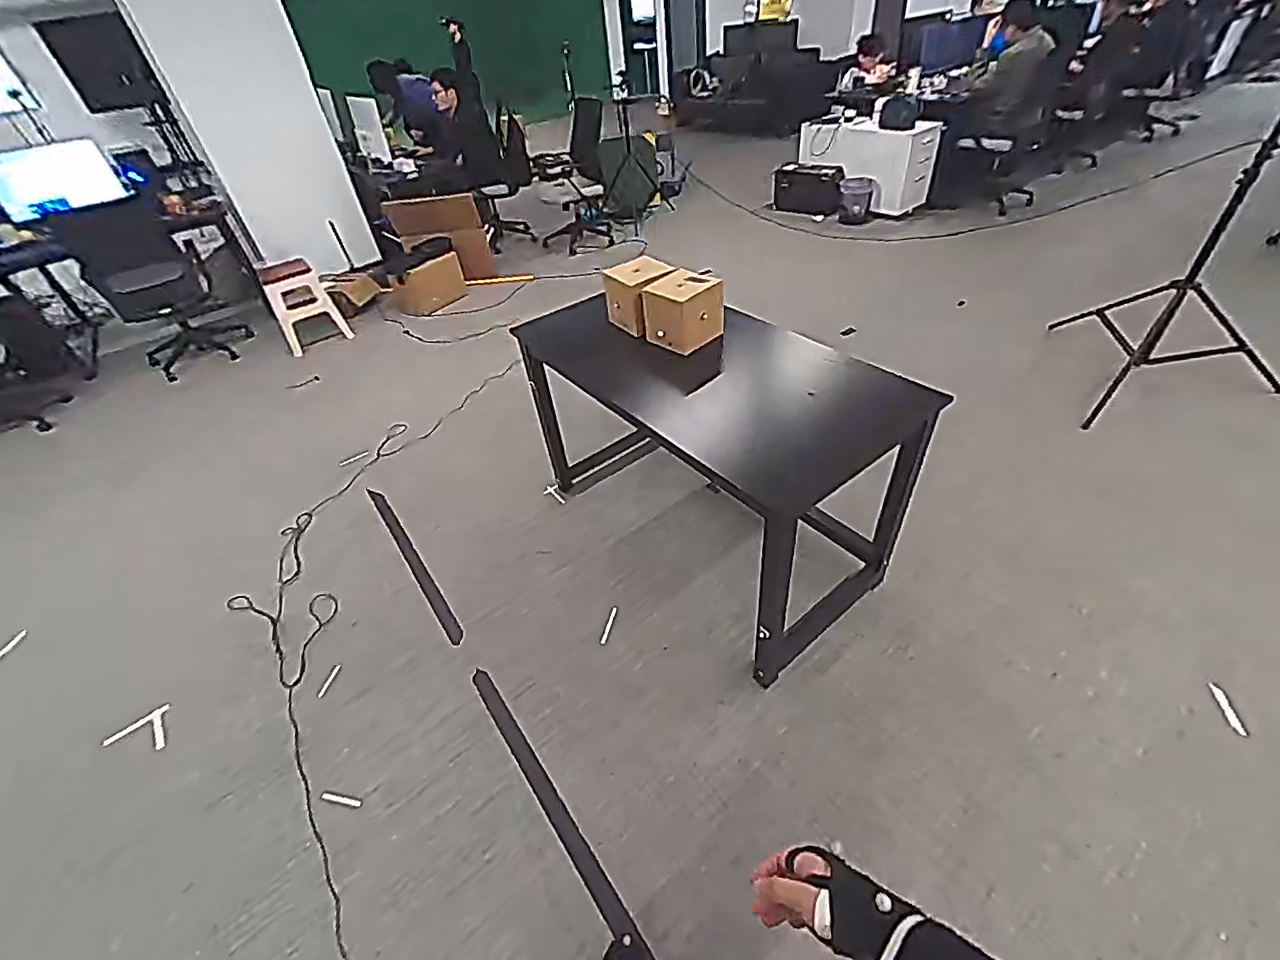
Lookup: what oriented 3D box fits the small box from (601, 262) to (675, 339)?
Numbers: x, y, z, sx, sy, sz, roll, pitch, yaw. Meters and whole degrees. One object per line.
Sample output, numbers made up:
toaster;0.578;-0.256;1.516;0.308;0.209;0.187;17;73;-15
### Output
small box;-0.001;-0.573;1.733;0.179;0.176;0.168;-28;46;-22
